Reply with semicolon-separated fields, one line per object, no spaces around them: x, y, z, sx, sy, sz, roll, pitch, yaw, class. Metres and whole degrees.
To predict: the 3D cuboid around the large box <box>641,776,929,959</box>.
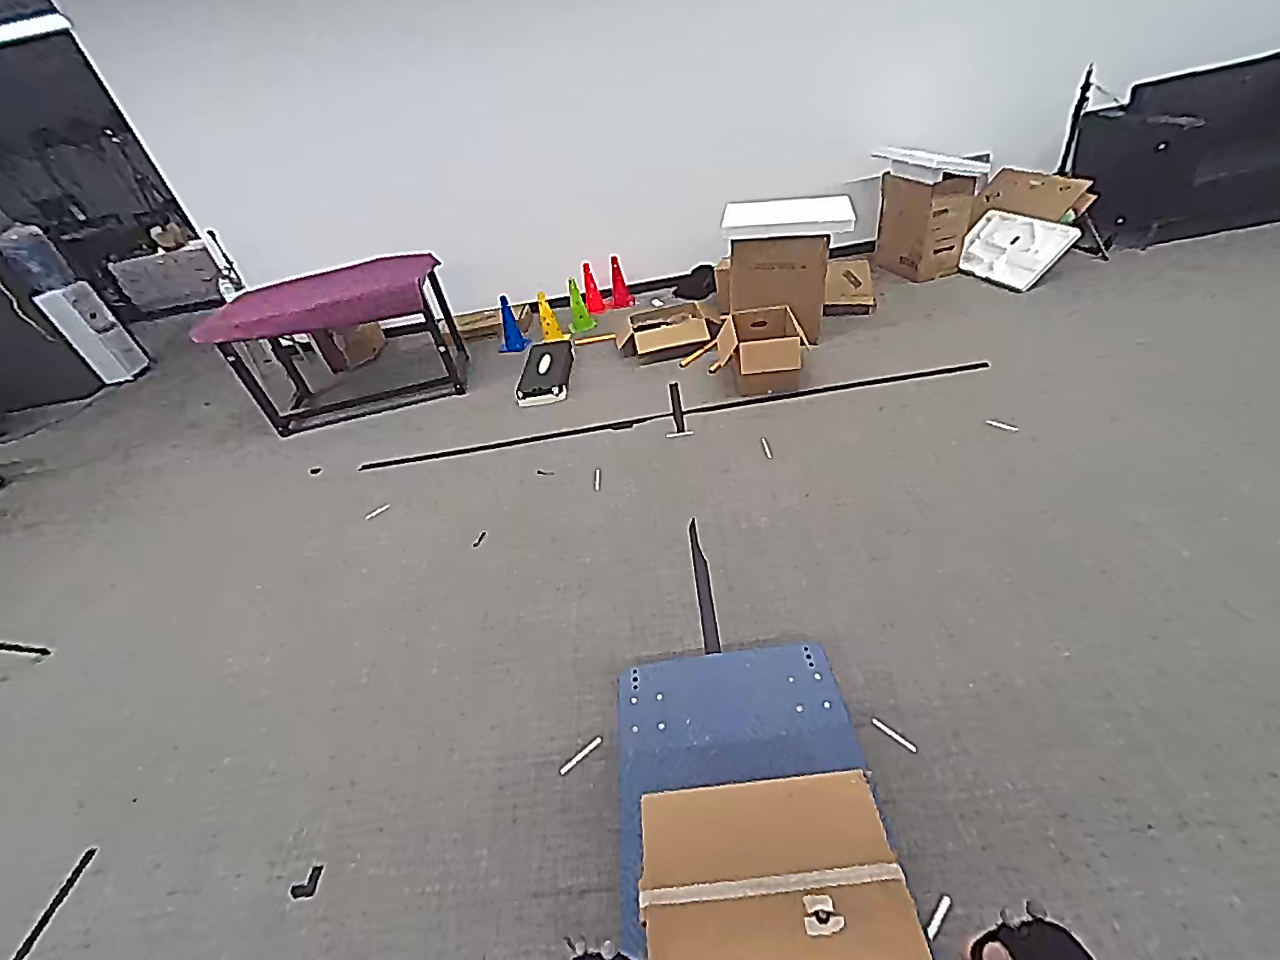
0.225;0.762;0.932;0.408;0.320;0.320;-8;38;3;large box
